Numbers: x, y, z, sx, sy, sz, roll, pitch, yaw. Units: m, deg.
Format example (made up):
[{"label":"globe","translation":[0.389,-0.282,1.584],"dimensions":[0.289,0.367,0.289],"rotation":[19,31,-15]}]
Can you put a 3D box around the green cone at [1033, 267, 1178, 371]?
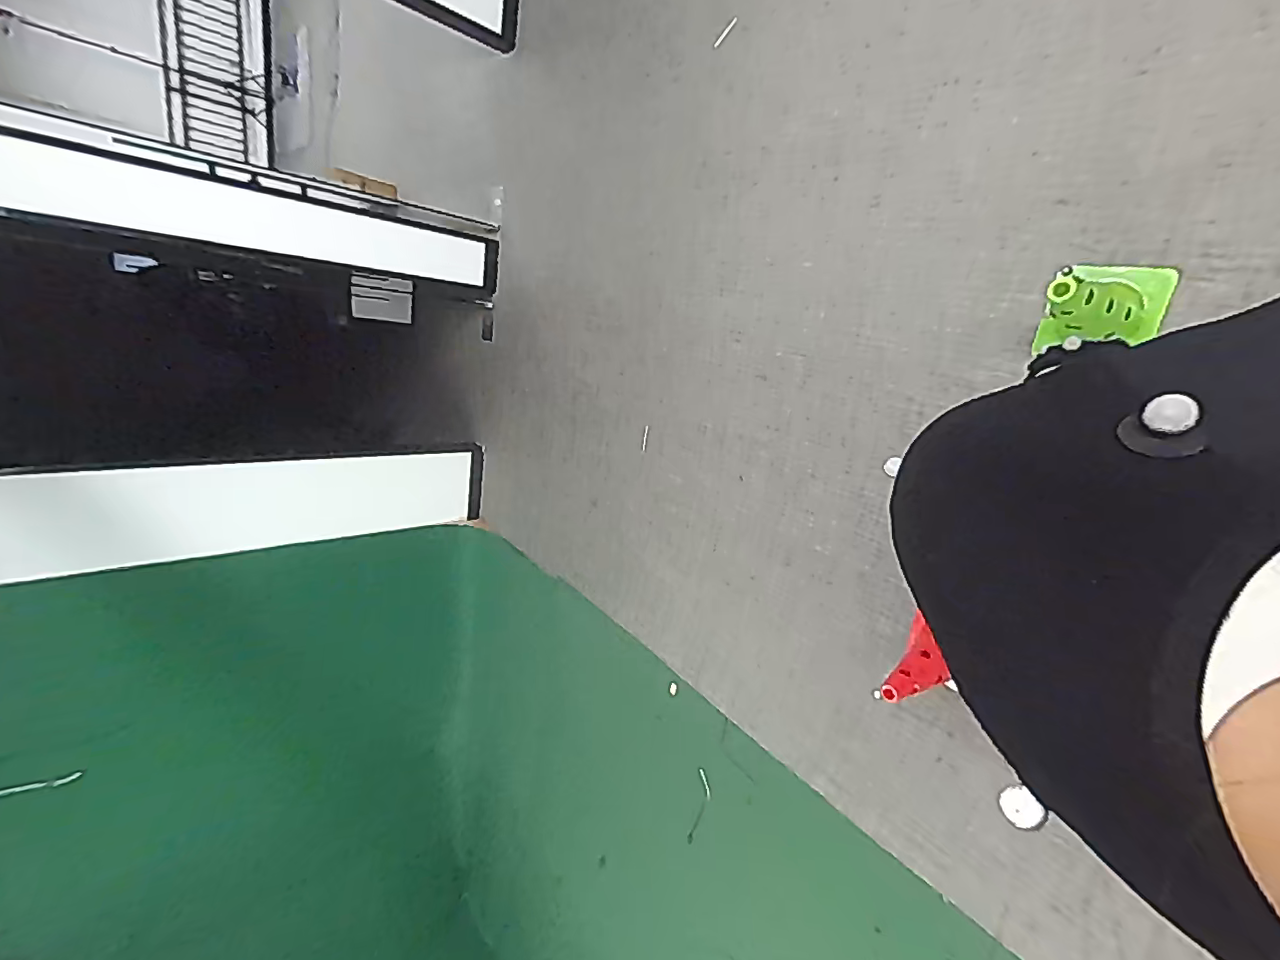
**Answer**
[{"label":"green cone","translation":[0.849,-0.328,1.029],"dimensions":[0.202,0.368,0.200],"rotation":[24,113,43]}]
